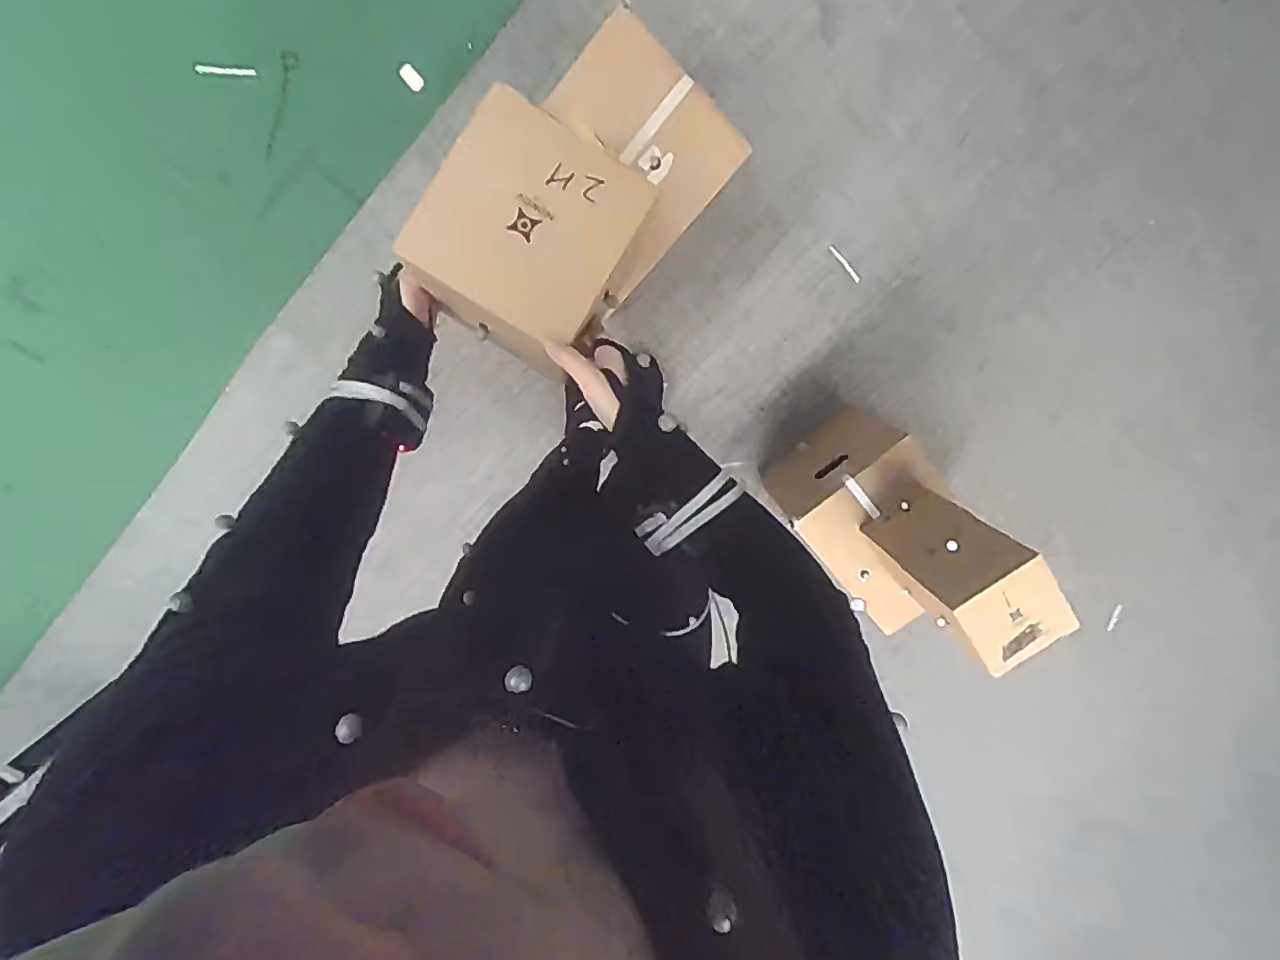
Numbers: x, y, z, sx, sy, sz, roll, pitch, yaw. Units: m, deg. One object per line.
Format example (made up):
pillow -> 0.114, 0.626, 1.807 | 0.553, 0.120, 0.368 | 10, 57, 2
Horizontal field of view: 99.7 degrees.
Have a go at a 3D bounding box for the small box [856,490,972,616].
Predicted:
small box -> 0.591, 0.151, 1.128 | 0.168, 0.176, 0.179 | -37, 107, 7

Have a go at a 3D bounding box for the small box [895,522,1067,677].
small box -> 0.602, 0.207, 0.974 | 0.168, 0.176, 0.179 | -36, 107, 7

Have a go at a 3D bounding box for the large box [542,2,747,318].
large box -> -0.061, -0.584, 1.089 | 0.320, 0.320, 0.408 | 41, 102, -15

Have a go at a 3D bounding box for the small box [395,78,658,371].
small box -> -0.105, -0.231, 0.546 | 0.168, 0.176, 0.179 | 33, 86, -9
